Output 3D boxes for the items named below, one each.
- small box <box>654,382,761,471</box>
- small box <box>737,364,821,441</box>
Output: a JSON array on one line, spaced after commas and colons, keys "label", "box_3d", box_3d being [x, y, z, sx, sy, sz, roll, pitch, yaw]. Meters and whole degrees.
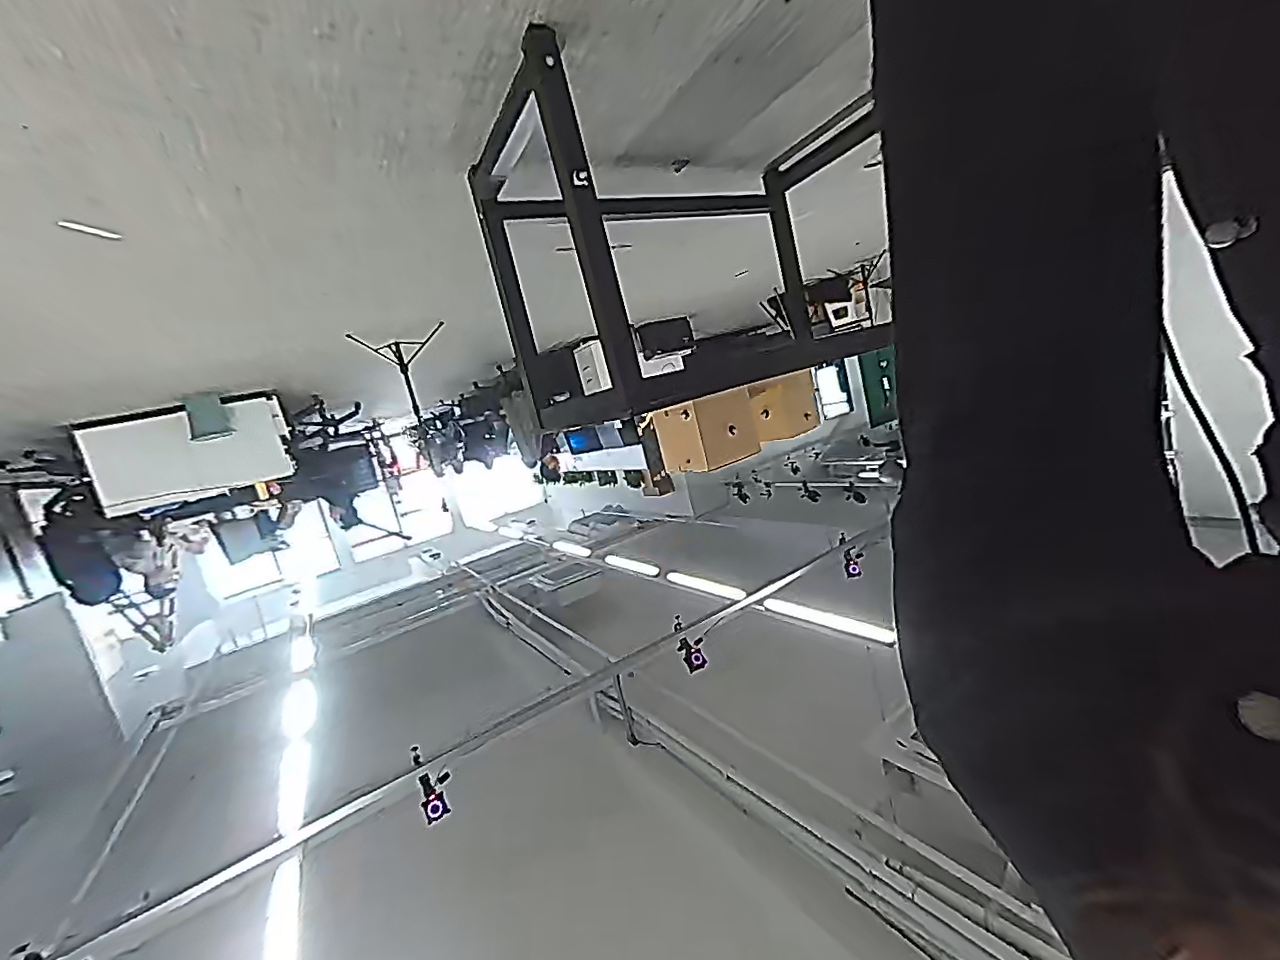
[{"label": "small box", "box_3d": [0.157, -0.127, 1.301, 0.179, 0.176, 0.168, -21, -169, -31]}, {"label": "small box", "box_3d": [0.366, -0.208, 1.470, 0.168, 0.176, 0.179, -5, -167, 46]}]
